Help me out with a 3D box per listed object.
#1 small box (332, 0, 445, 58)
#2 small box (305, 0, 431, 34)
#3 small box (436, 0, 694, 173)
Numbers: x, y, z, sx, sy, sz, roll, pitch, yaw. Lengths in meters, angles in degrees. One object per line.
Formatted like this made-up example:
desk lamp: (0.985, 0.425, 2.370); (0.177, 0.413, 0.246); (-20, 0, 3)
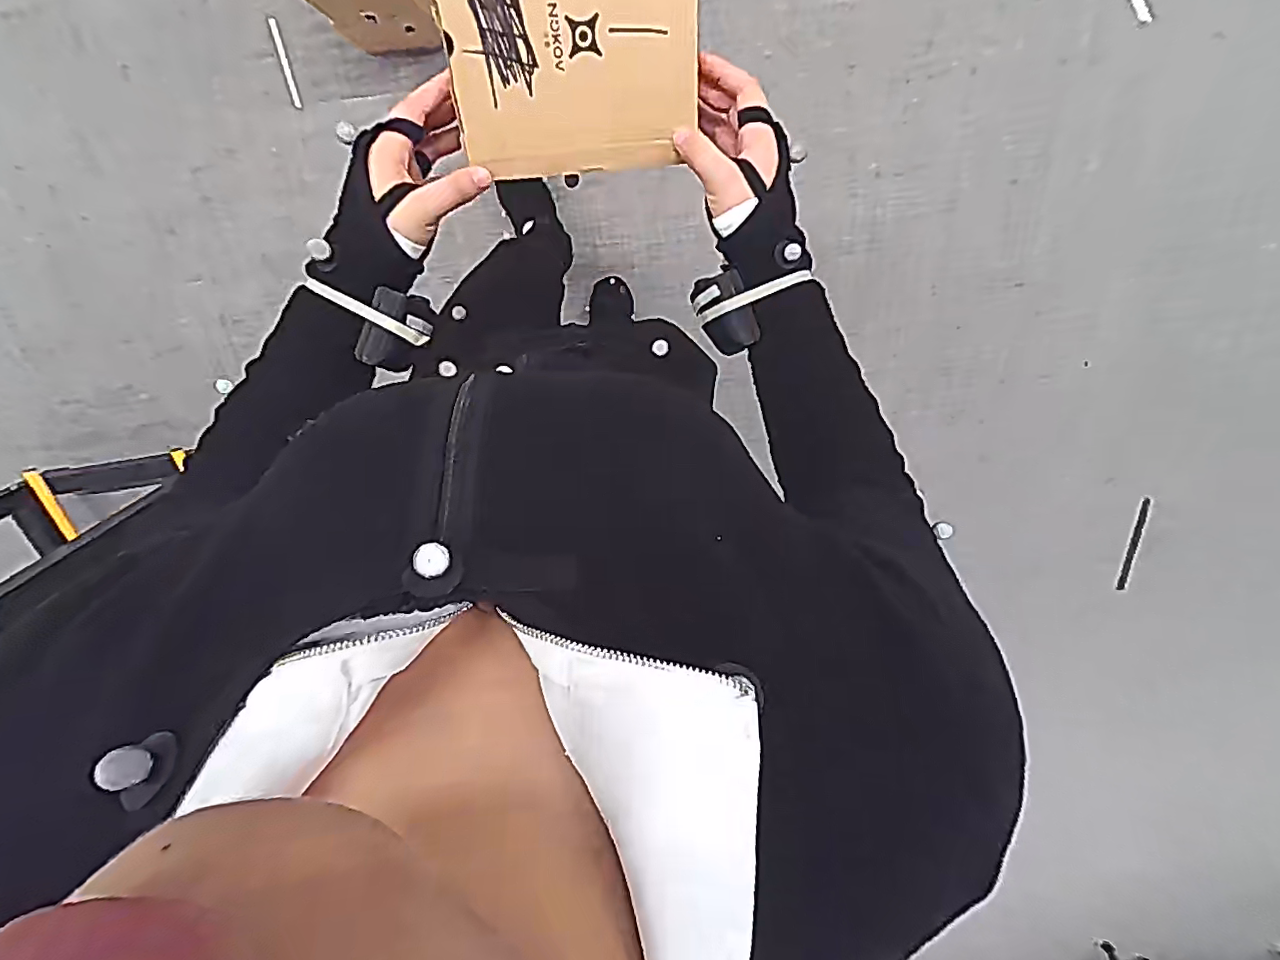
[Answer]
small box: (-0.478, -0.924, 1.020); (0.179, 0.176, 0.168); (-6, 115, -2)
small box: (-0.459, -0.861, 0.871); (0.168, 0.176, 0.179); (-7, 117, 0)
small box: (-0.056, -0.354, 0.439); (0.179, 0.176, 0.168); (-6, 126, -3)
